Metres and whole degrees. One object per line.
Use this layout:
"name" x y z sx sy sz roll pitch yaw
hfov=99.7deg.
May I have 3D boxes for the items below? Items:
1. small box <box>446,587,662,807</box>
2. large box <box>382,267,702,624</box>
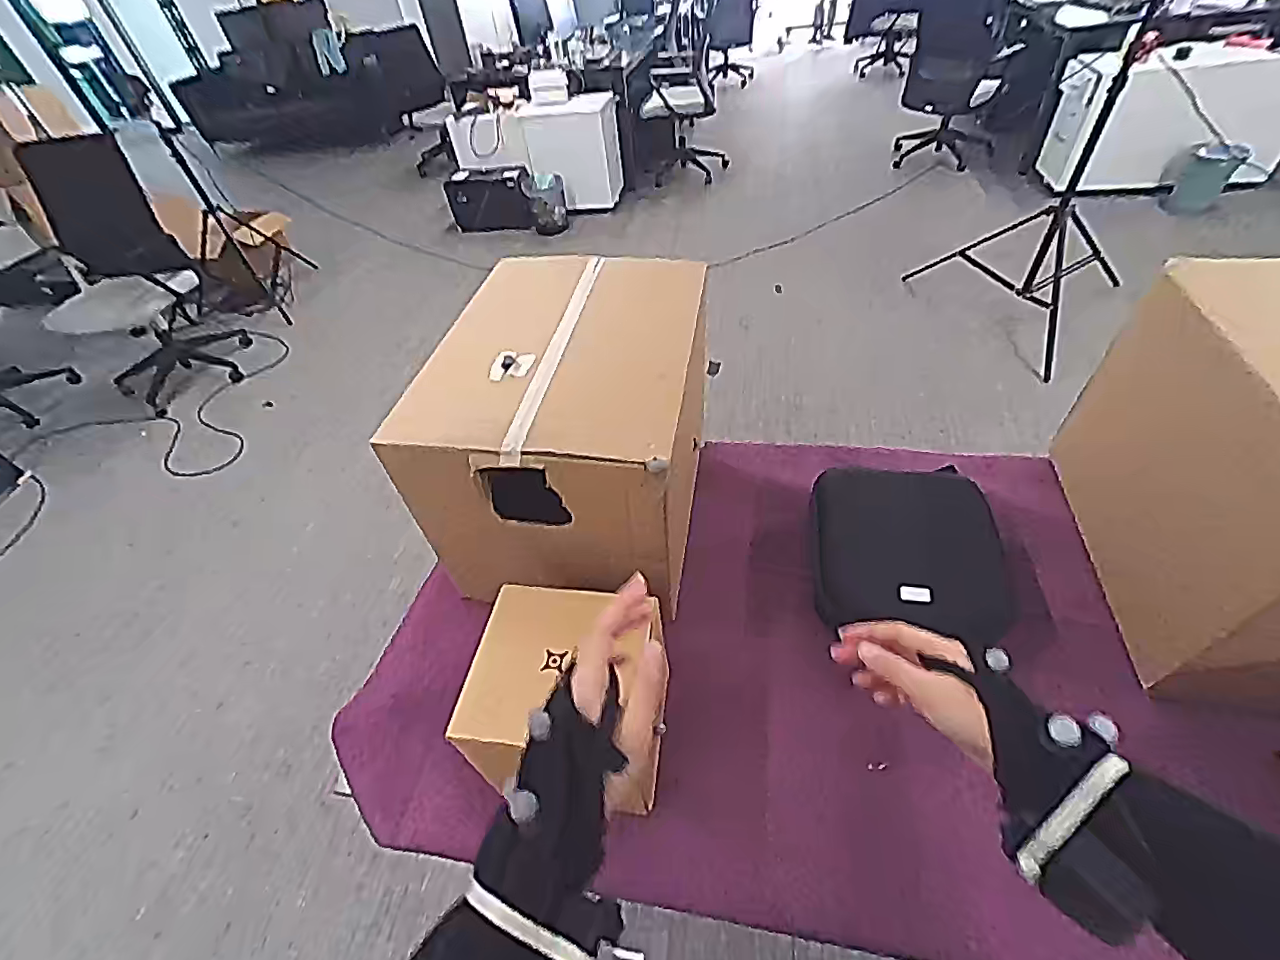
"small box" -0.075 0.236 0.589 0.179 0.176 0.168 2 46 9
"large box" -0.082 -0.059 0.774 0.320 0.320 0.408 4 49 10
